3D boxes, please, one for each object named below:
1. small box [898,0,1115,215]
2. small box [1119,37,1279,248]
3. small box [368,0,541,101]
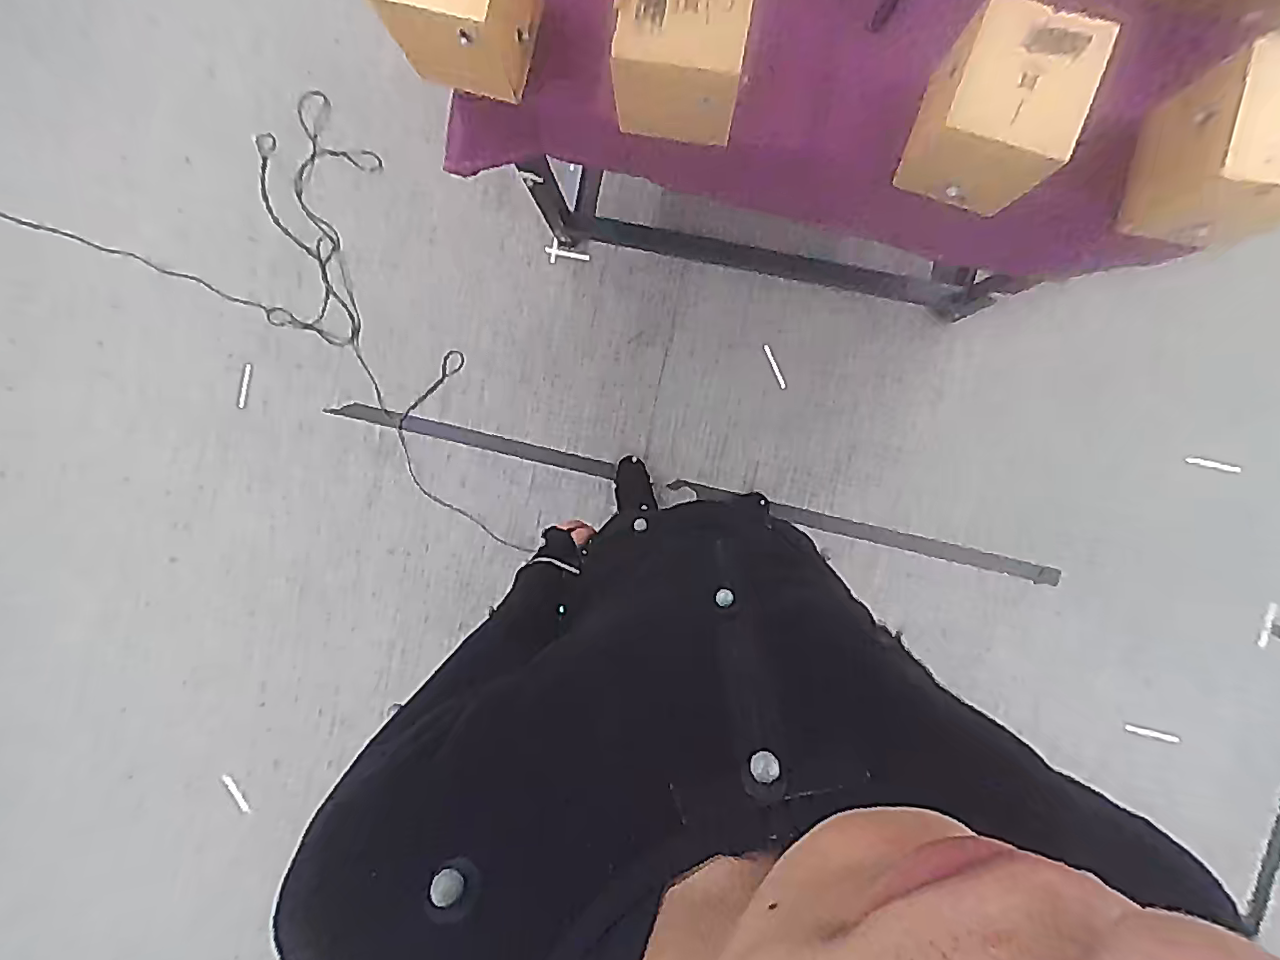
[{"bbox_3d":[0.497,-0.515,0.765,0.168,0.176,0.179,19,95,2],"label":"small box"},{"bbox_3d":[0.823,-0.450,0.747,0.168,0.176,0.179,12,94,4],"label":"small box"},{"bbox_3d":[-0.264,-0.705,0.799,0.179,0.176,0.168,14,93,1],"label":"small box"}]
